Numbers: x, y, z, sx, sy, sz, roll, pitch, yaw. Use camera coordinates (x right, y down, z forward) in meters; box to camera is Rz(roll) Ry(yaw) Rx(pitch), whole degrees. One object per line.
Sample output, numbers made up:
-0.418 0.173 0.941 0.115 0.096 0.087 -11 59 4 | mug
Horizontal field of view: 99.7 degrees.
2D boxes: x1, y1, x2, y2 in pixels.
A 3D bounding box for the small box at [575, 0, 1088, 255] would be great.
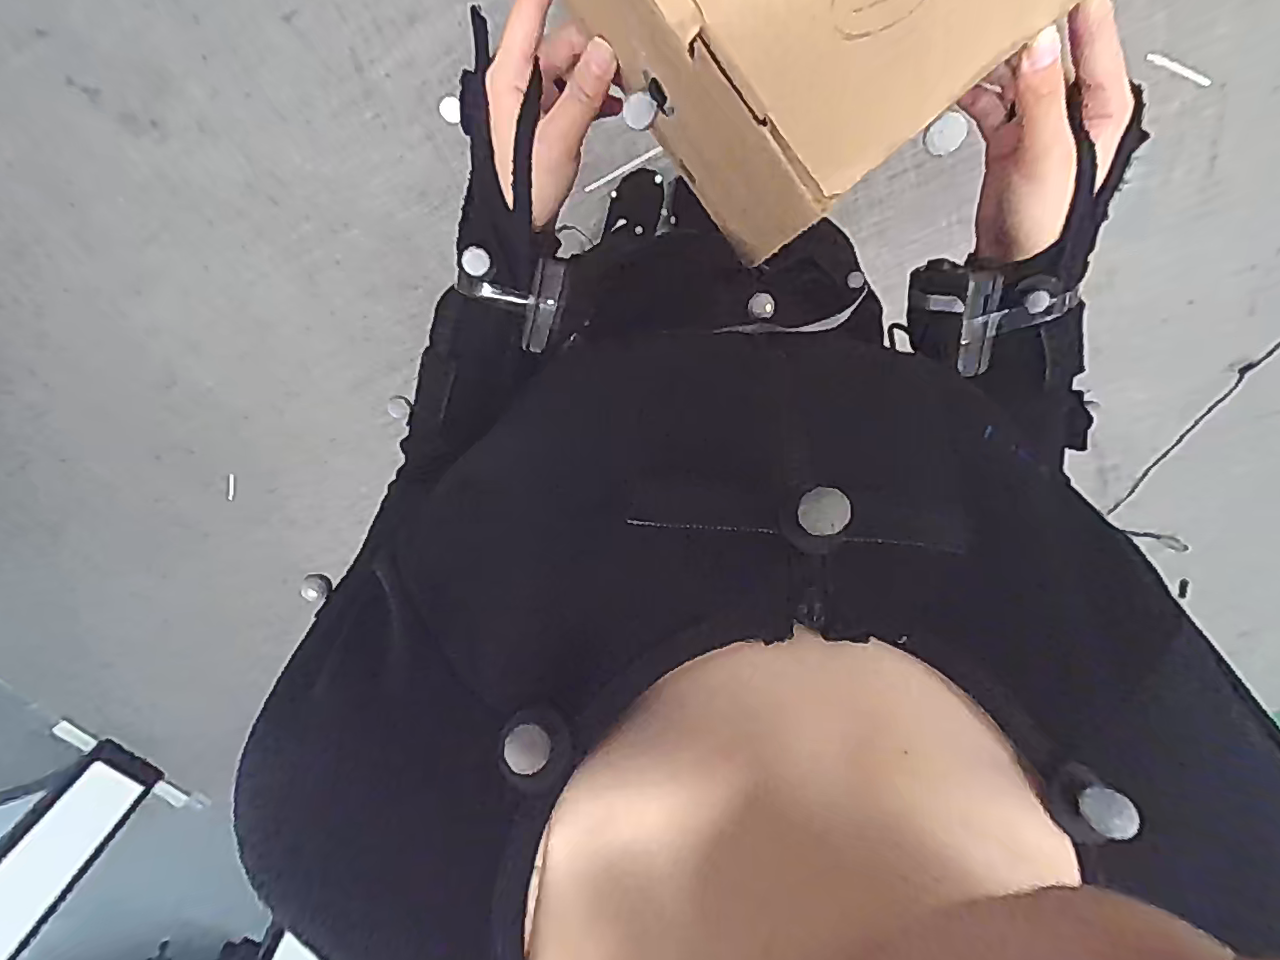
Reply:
0.072 -0.210 0.203 0.179 0.176 0.168 -37 100 14 | small box
